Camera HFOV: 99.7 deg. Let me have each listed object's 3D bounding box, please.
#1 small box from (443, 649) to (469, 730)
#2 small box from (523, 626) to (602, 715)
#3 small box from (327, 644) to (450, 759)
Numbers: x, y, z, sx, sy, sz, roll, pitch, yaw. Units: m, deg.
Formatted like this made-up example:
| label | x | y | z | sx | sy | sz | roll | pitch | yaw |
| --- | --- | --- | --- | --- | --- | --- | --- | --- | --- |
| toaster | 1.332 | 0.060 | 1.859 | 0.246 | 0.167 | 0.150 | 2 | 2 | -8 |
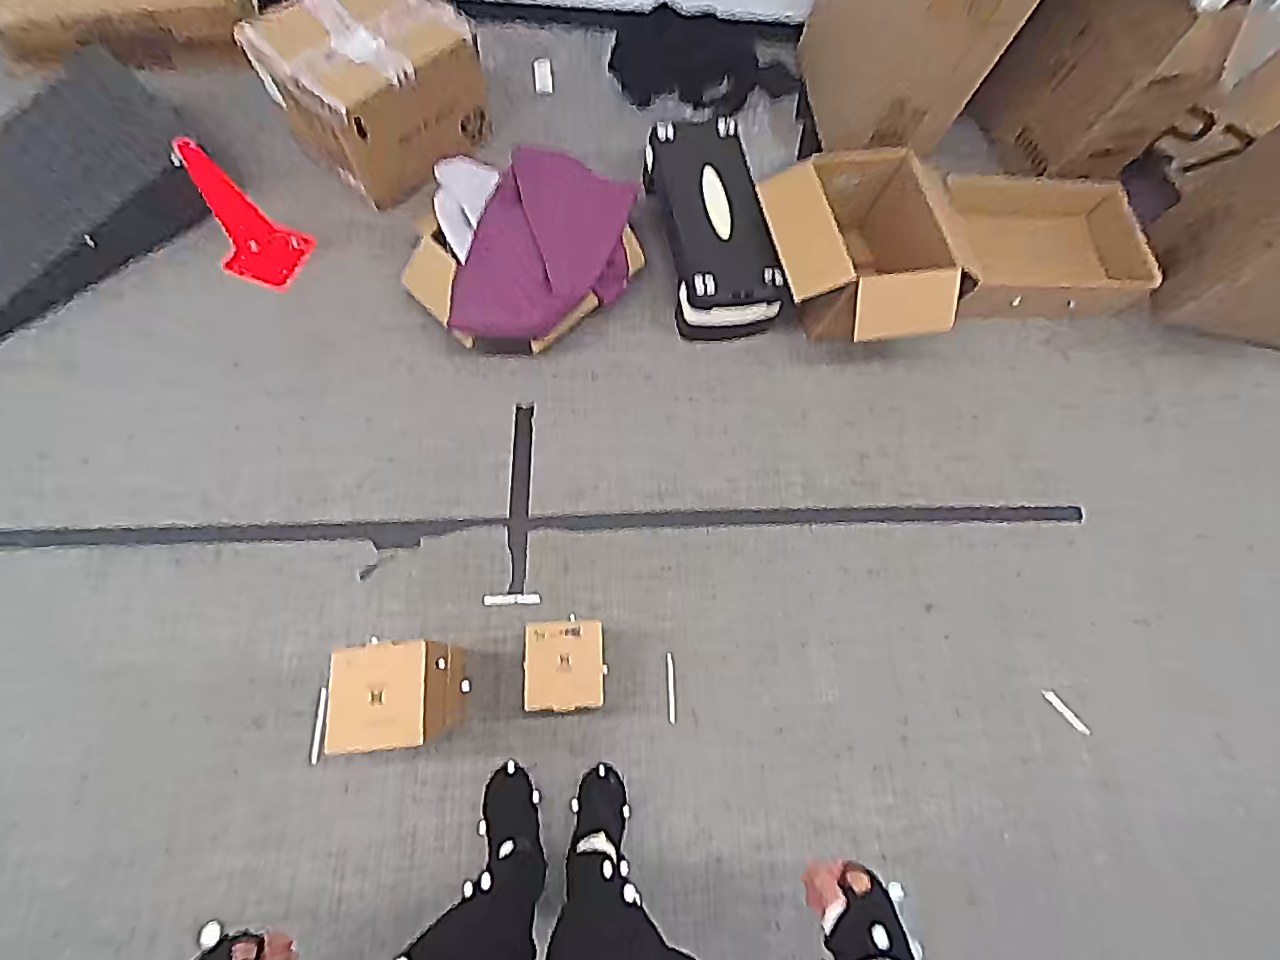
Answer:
| label | x | y | z | sx | sy | sz | roll | pitch | yaw |
| --- | --- | --- | --- | --- | --- | --- | --- | --- | --- |
| small box | -0.485 | 0.465 | 1.183 | 0.179 | 0.176 | 0.168 | -2 | 71 | -7 |
| small box | -0.170 | 0.427 | 1.228 | 0.168 | 0.176 | 0.179 | -1 | 71 | -5 |
| small box | -0.467 | 0.414 | 1.029 | 0.168 | 0.176 | 0.179 | -5 | 73 | -6 |
